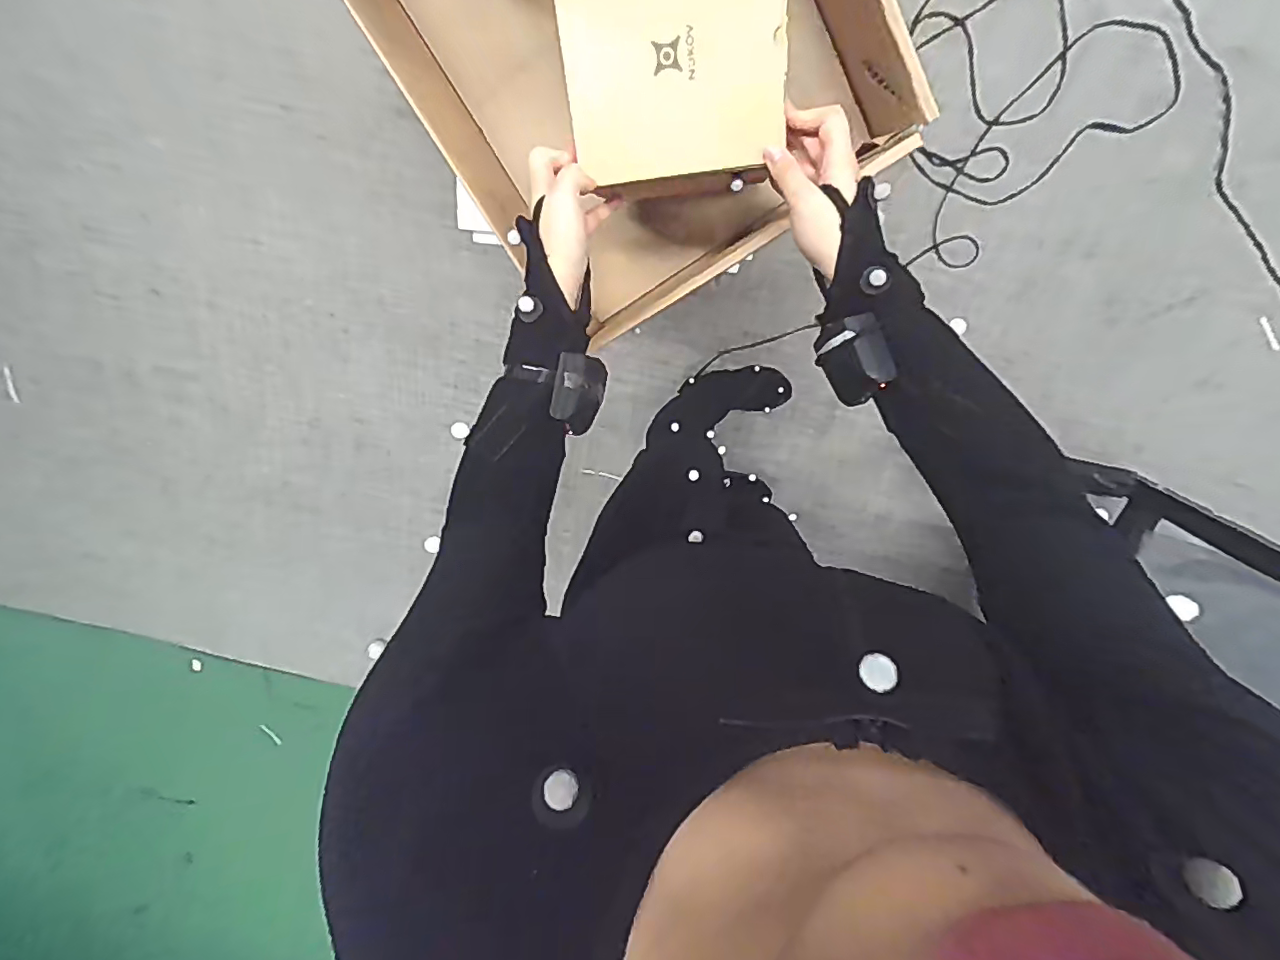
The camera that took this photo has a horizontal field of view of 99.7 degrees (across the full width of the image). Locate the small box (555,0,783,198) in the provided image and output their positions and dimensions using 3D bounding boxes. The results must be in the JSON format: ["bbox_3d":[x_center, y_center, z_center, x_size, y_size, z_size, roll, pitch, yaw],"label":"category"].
[{"bbox_3d":[0.032,-0.369,0.500,0.179,0.176,0.168,-5,112,7],"label":"small box"}]
